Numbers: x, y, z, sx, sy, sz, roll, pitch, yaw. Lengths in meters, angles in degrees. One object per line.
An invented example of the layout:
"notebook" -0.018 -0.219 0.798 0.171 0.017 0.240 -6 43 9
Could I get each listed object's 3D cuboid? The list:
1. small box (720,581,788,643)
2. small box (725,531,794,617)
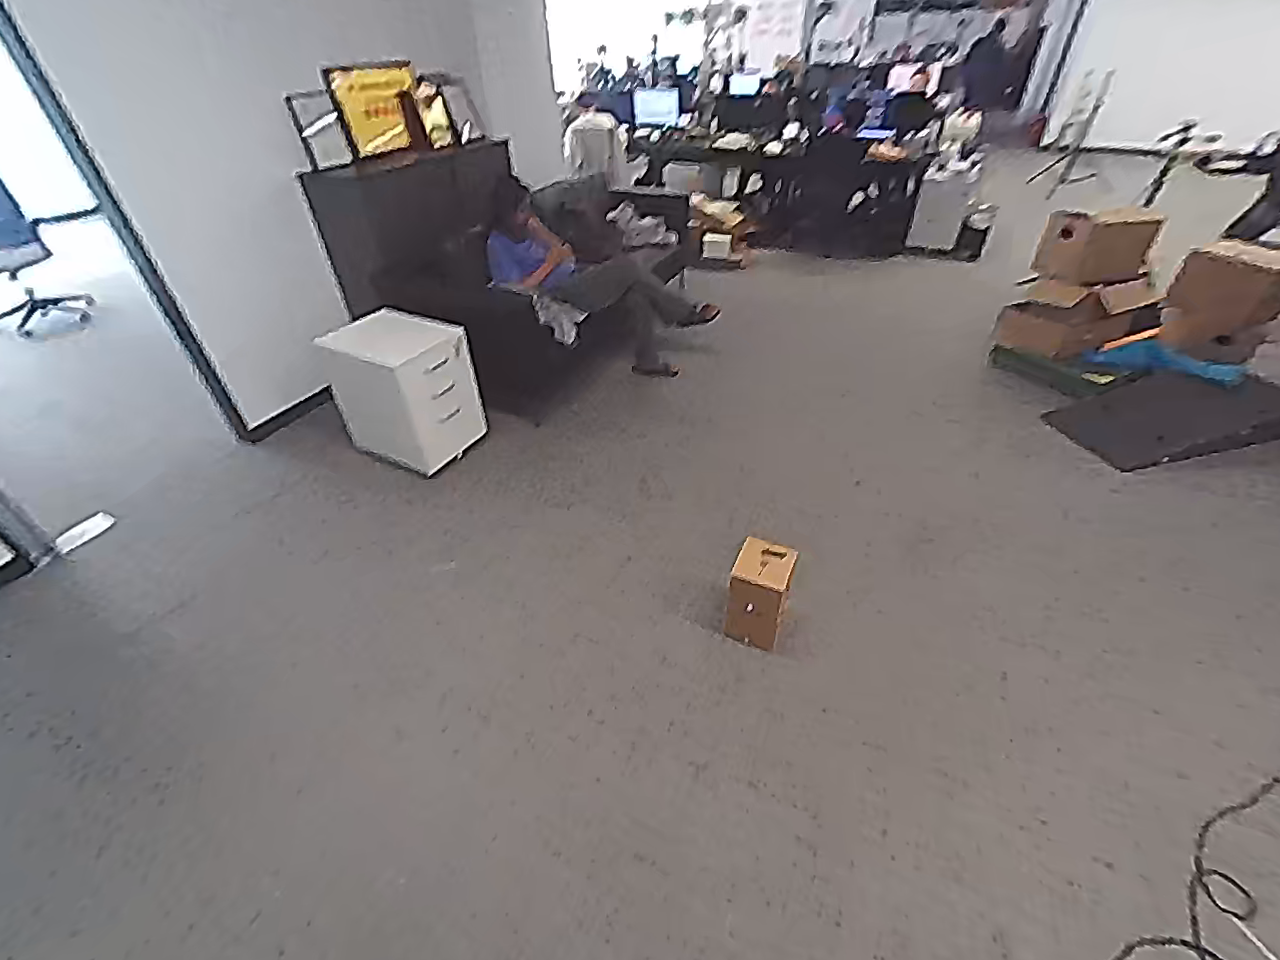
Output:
"small box" 0.382 0.423 1.833 0.179 0.176 0.168 17 42 21
"small box" 0.377 0.300 1.723 0.168 0.176 0.179 16 43 21
